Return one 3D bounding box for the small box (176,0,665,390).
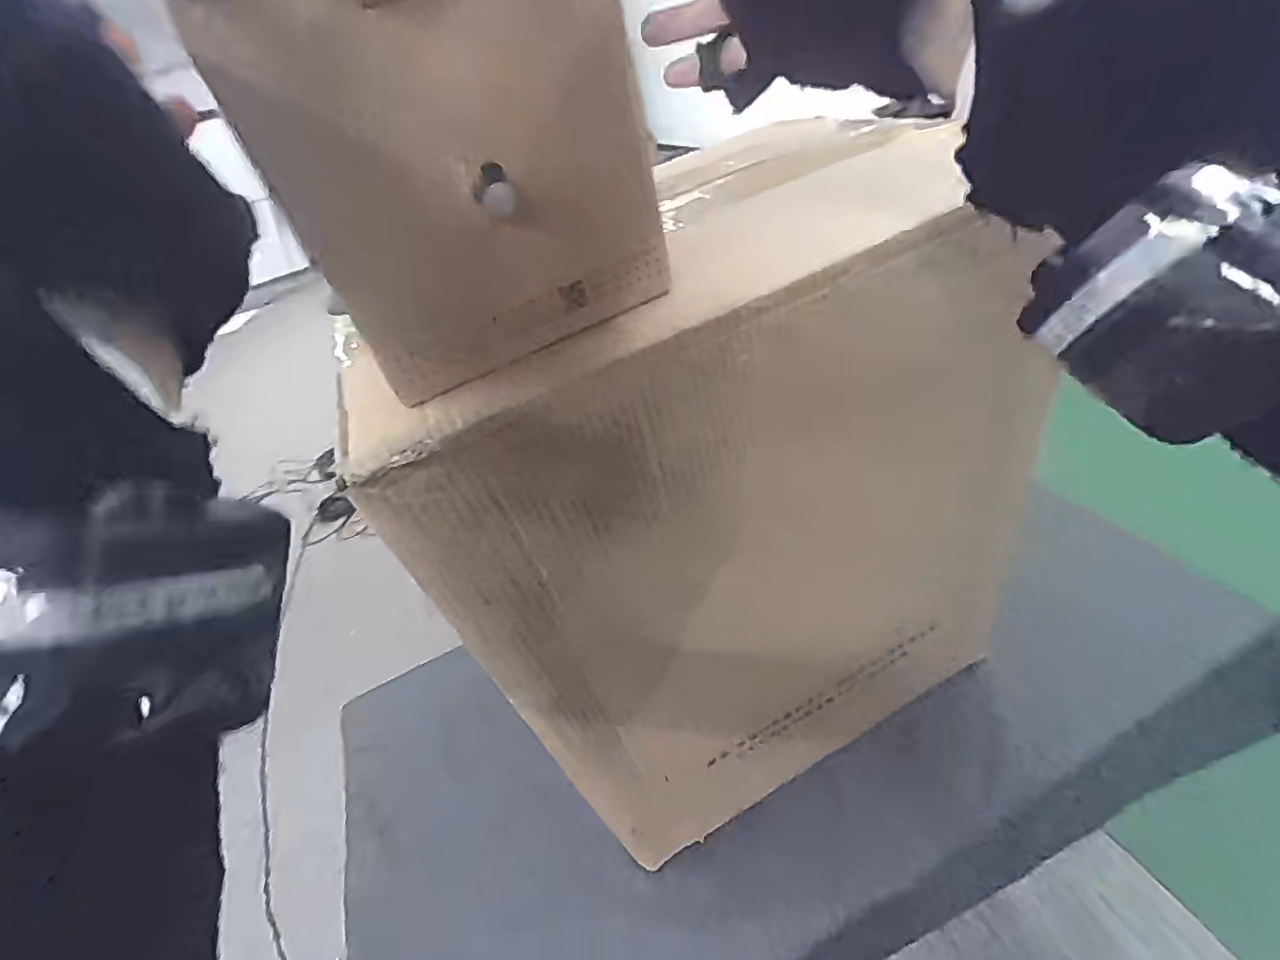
[{"bbox_3d":[-0.104,-0.173,0.307,0.168,0.176,0.179,-28,42,-13],"label":"small box"}]
